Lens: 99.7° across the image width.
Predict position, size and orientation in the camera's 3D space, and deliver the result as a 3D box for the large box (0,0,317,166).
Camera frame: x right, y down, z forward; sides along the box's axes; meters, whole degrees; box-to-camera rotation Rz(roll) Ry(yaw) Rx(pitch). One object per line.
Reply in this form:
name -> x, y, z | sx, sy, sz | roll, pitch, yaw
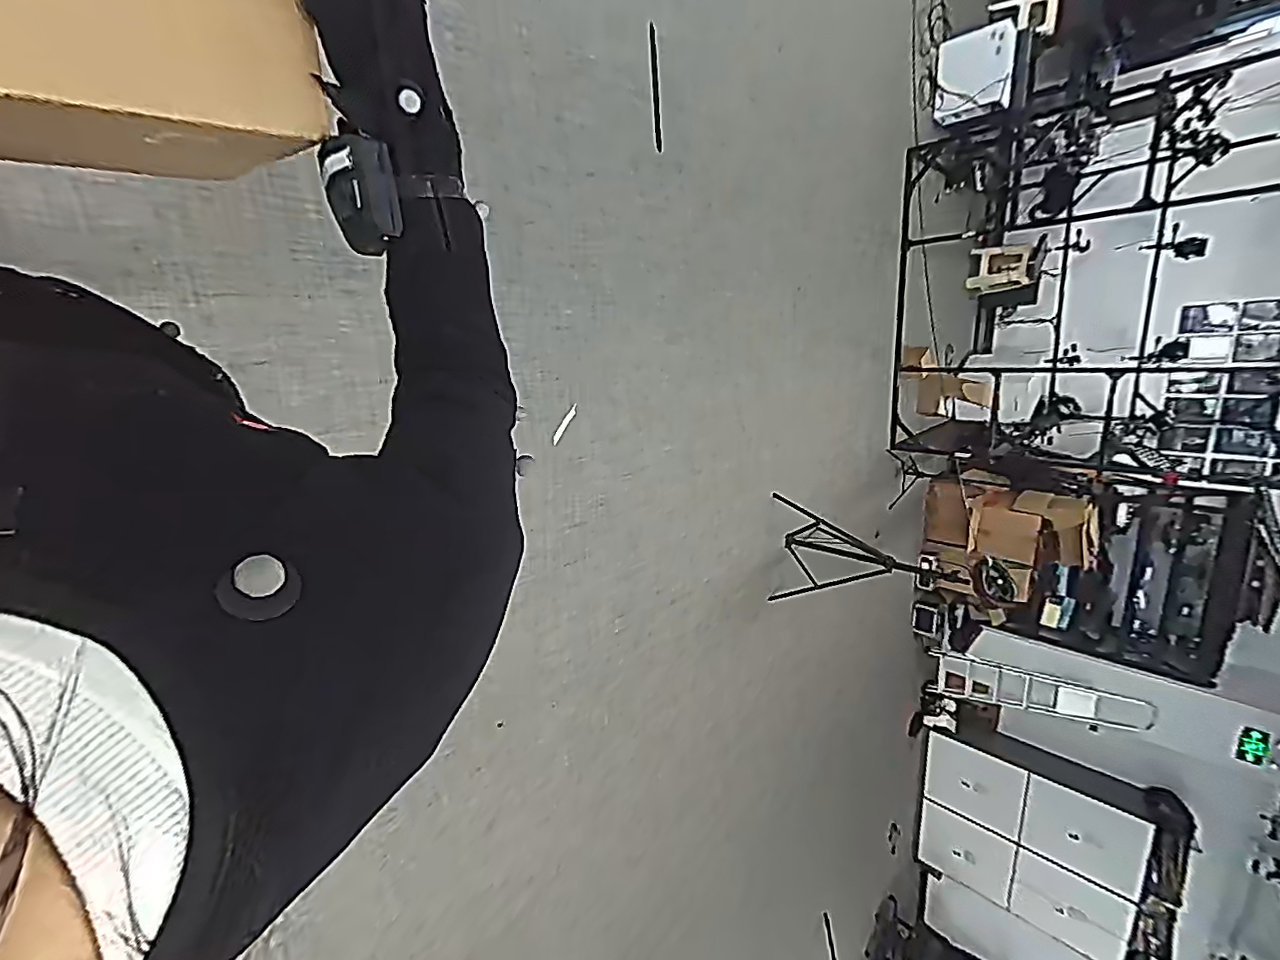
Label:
large box -> -0.454, -0.360, 0.261 | 0.408, 0.320, 0.320 | -21, 122, -42
